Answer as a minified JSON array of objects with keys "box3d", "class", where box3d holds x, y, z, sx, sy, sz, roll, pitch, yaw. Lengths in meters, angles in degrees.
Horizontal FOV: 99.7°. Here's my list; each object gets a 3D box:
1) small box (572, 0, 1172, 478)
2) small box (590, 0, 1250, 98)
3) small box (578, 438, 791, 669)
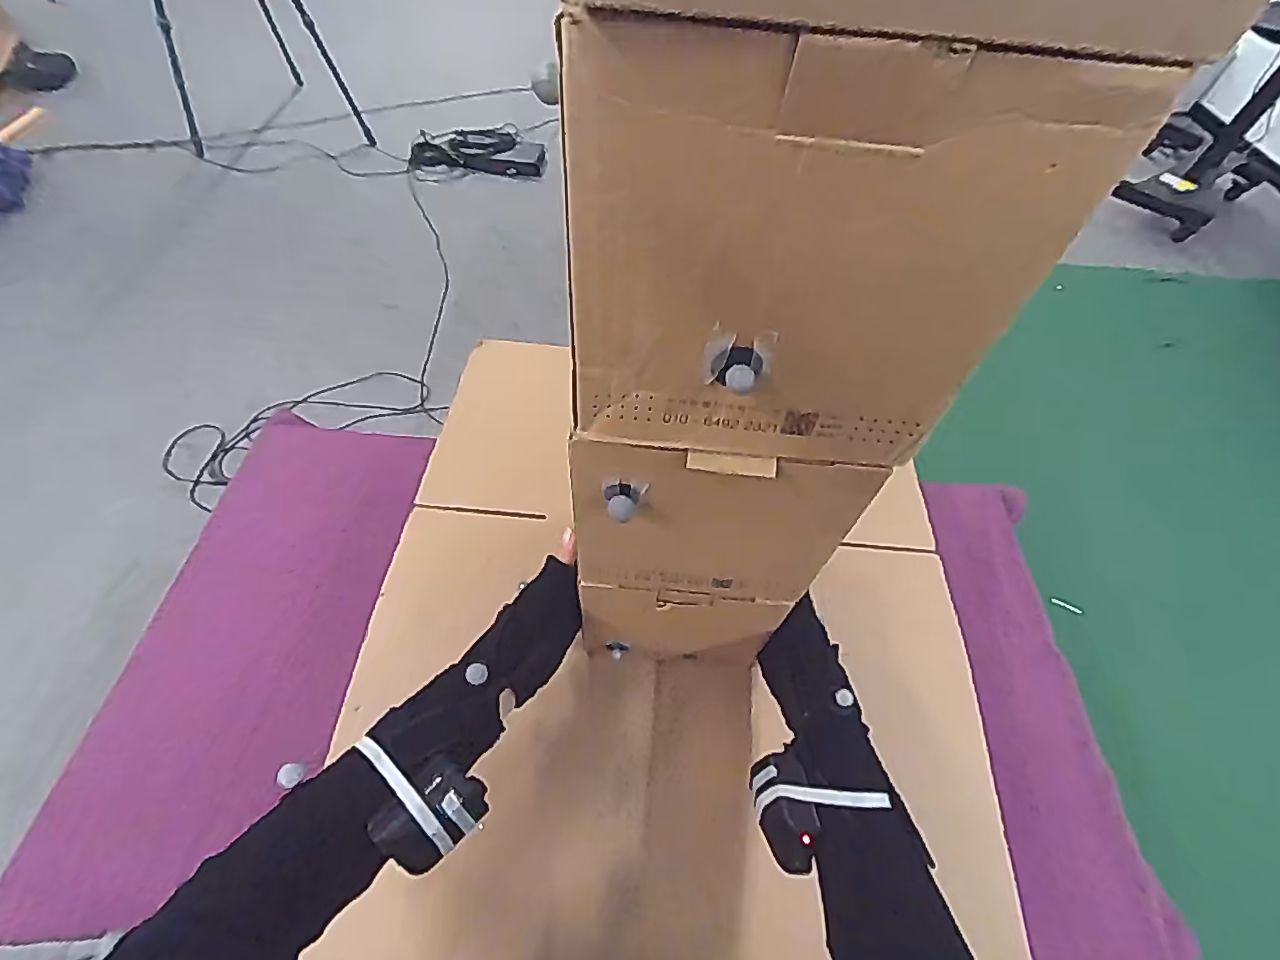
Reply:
[{"box3d":[0.061,-0.125,0.256,0.168,0.176,0.179,5,54,-1],"class":"small box"},{"box3d":[0.071,-0.220,0.122,0.168,0.176,0.179,3,54,-2],"class":"small box"},{"box3d":[0.038,0.068,0.519,0.168,0.176,0.179,6,54,0],"class":"small box"}]
